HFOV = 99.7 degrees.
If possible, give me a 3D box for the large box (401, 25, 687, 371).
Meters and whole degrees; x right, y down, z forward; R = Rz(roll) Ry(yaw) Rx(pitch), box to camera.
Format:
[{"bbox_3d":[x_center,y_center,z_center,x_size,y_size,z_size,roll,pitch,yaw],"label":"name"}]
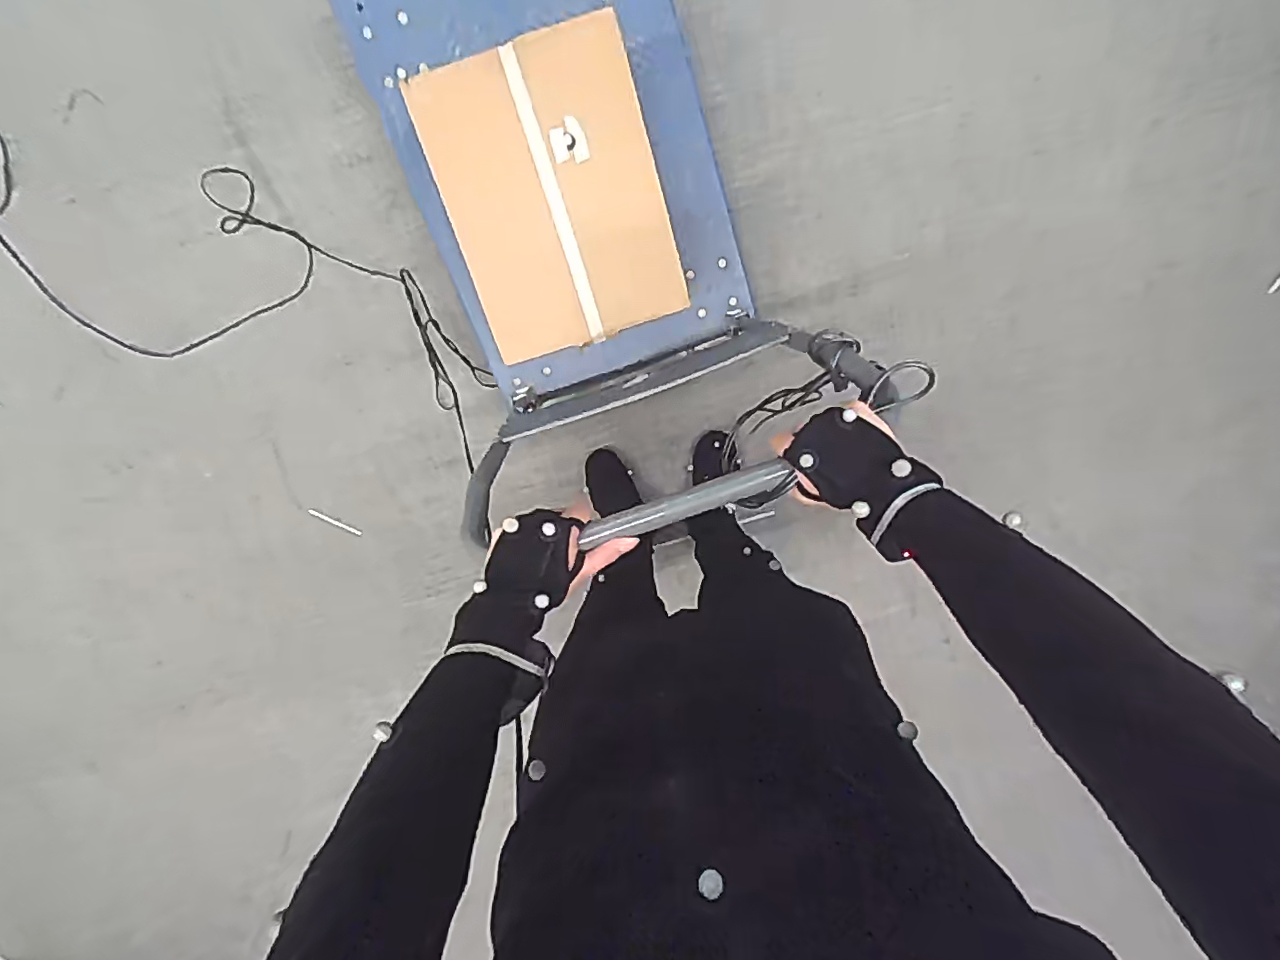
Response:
[{"bbox_3d":[-0.133,-0.441,0.943,0.320,0.320,0.408,-17,107,3],"label":"large box"}]
